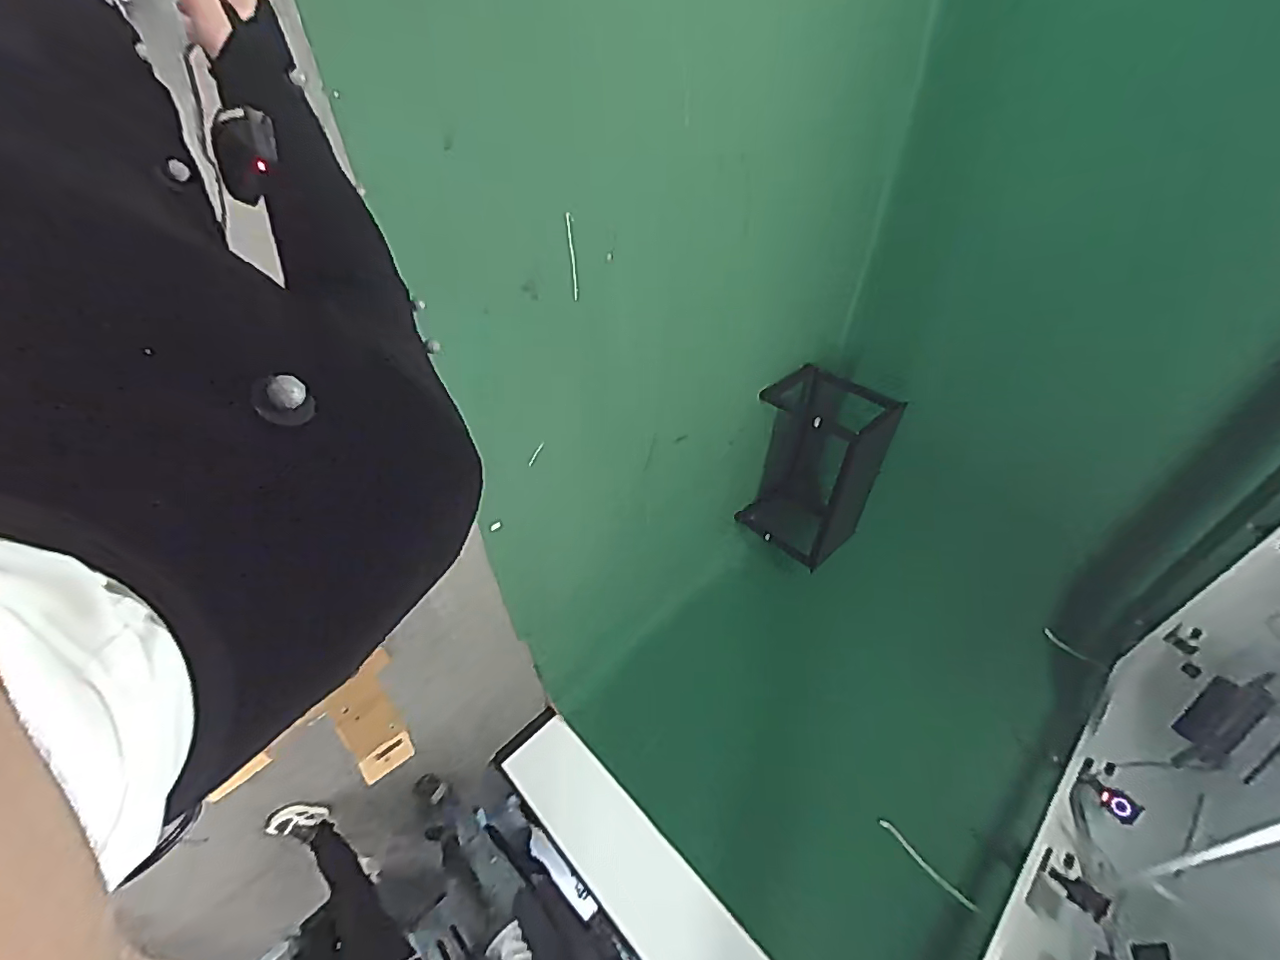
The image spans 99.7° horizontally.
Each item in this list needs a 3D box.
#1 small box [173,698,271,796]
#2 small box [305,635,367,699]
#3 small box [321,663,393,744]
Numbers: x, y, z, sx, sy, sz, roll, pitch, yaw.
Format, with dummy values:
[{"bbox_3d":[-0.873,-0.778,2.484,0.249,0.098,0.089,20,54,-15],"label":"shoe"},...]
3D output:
[{"bbox_3d":[-1.294,0.820,1.668,0.179,0.176,0.168,-36,143,-30],"label":"small box"},{"bbox_3d":[-1.157,0.737,2.076,0.179,0.176,0.168,-28,140,-36],"label":"small box"},{"bbox_3d":[-1.044,0.816,1.984,0.179,0.176,0.168,-29,141,-35],"label":"small box"}]
